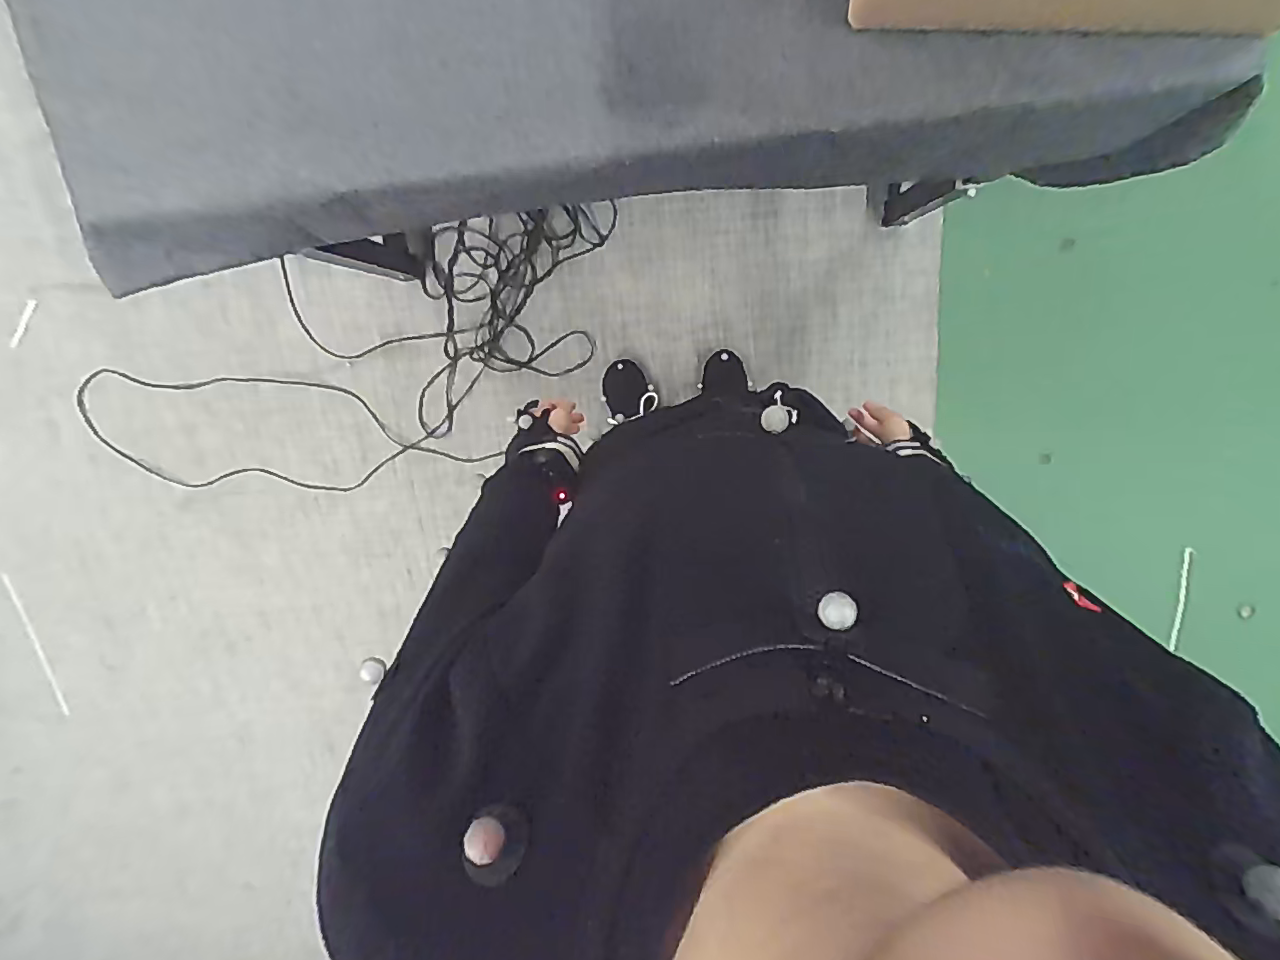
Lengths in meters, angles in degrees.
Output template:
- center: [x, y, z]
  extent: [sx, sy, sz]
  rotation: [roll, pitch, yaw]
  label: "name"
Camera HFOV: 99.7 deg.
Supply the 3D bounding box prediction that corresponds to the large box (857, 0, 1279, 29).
- center: [0.397, -0.545, 0.336]
  extent: [0.408, 0.320, 0.320]
  rotation: [1, 104, 0]
  label: "large box"
